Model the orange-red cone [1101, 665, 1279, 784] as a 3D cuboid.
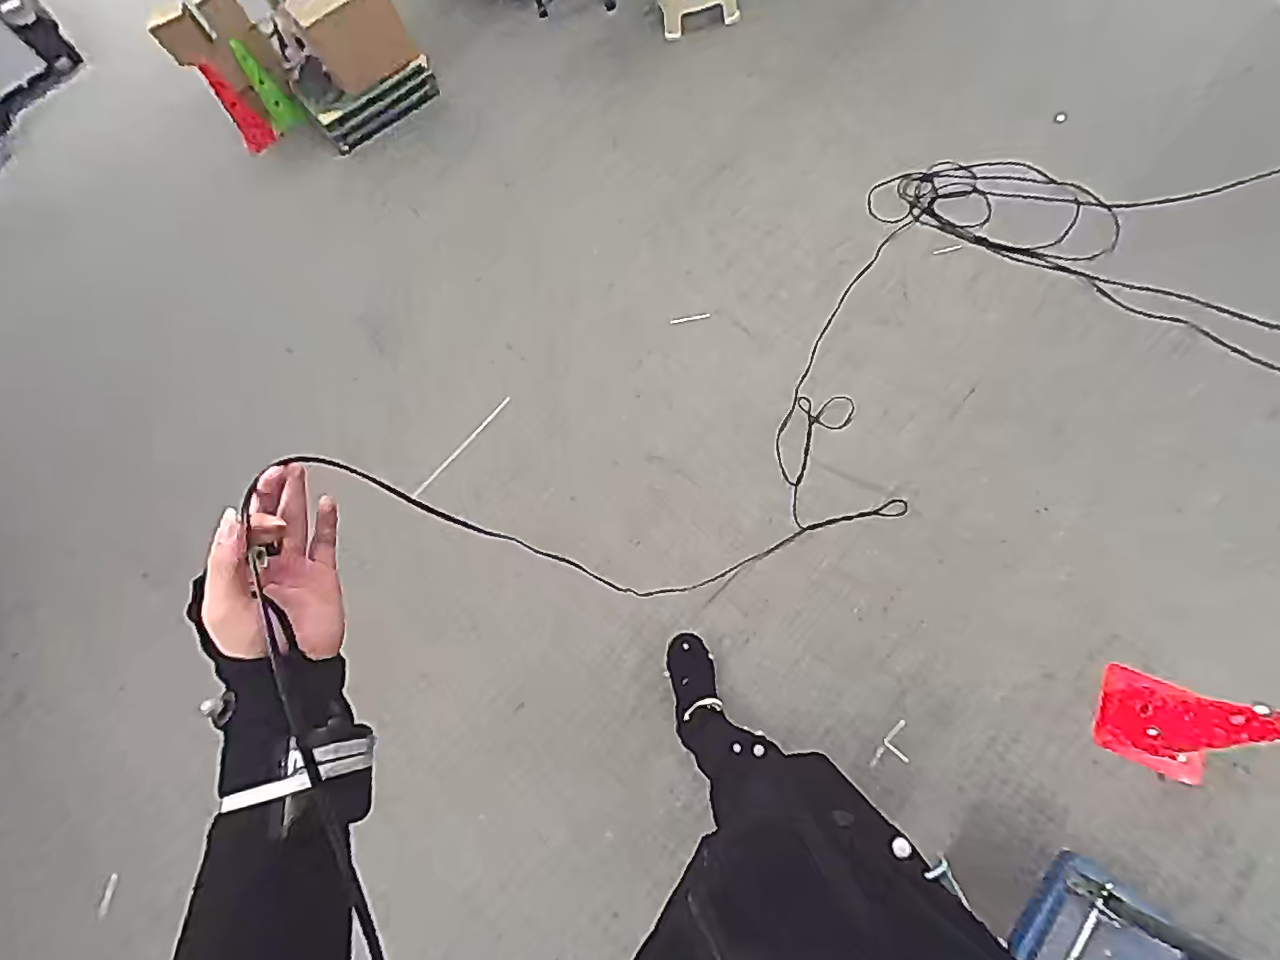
[{"bbox_3d":[1.127,0.472,1.053,0.198,0.360,0.199,22,72,19],"label":"orange-red cone"}]
